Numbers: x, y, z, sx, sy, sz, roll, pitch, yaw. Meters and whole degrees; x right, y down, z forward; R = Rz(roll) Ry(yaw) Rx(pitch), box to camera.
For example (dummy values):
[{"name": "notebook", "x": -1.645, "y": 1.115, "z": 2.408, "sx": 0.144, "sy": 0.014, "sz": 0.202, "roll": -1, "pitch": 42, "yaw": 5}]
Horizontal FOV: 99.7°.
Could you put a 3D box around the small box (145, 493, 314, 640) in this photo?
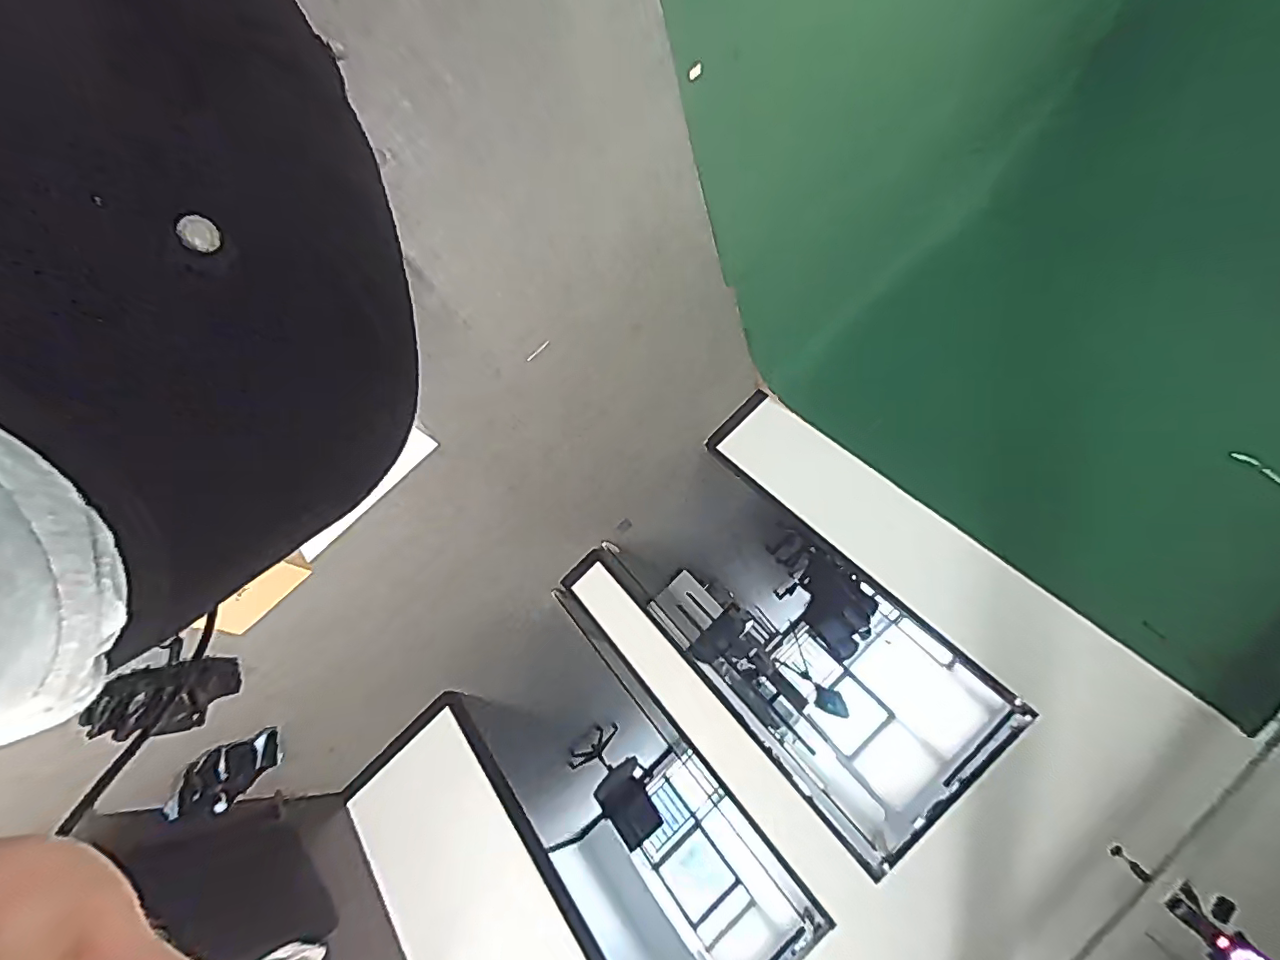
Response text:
[{"name": "small box", "x": -0.749, "y": 0.158, "z": 0.986, "sx": 0.179, "sy": 0.176, "sz": 0.168, "roll": -45, "pitch": 151, "yaw": -5}]
